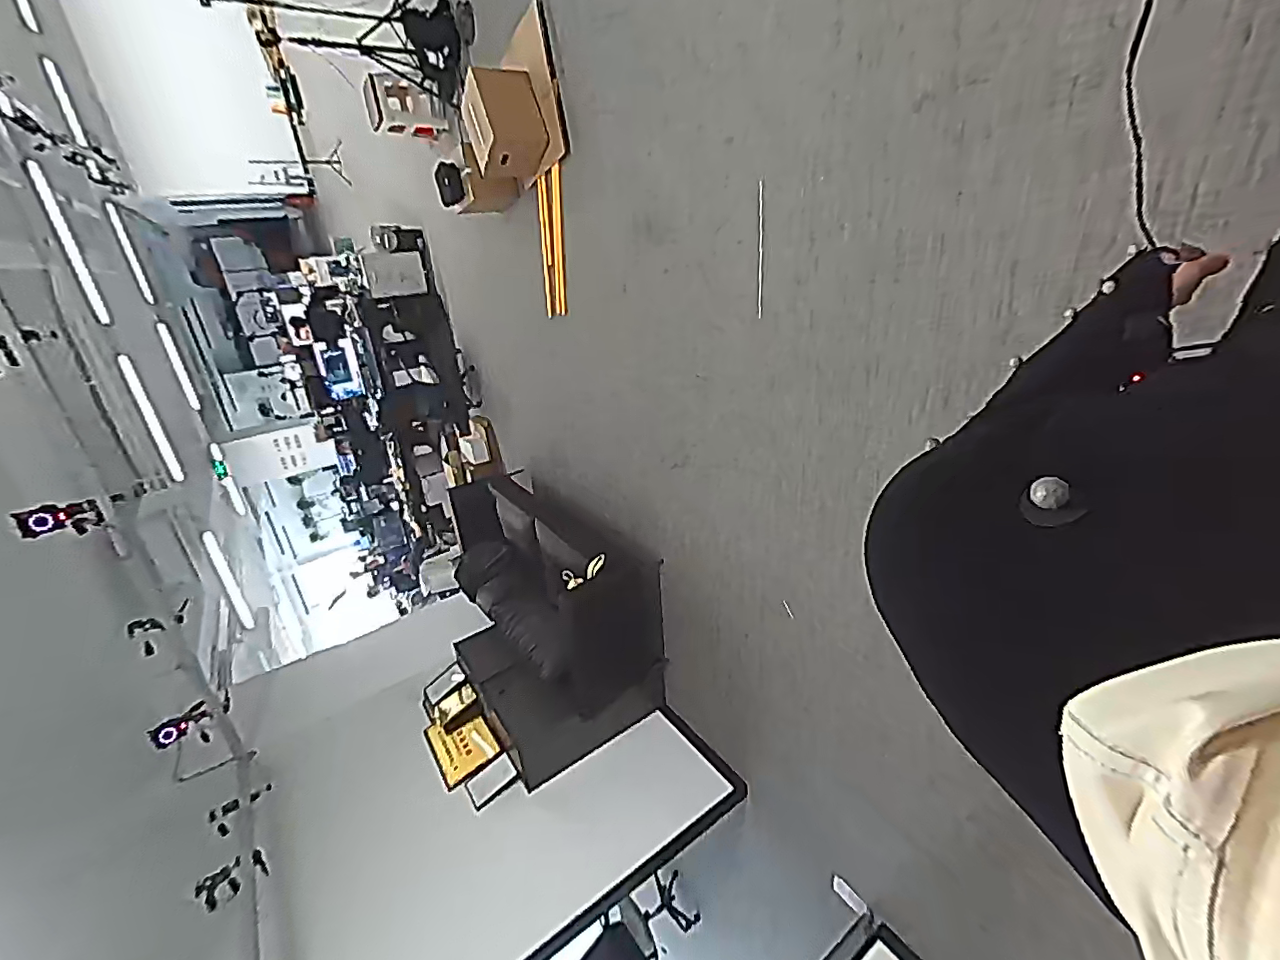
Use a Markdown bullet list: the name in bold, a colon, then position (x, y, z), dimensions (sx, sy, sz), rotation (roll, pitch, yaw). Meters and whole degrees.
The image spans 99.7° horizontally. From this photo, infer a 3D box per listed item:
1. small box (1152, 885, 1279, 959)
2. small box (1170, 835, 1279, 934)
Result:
- **small box**: position (1.148, 0.960, 1.060), dimensions (0.168, 0.176, 0.179), rotation (29, 131, 49)
- **small box**: position (1.281, 0.909, 1.139), dimensions (0.168, 0.176, 0.179), rotation (29, 133, 48)
